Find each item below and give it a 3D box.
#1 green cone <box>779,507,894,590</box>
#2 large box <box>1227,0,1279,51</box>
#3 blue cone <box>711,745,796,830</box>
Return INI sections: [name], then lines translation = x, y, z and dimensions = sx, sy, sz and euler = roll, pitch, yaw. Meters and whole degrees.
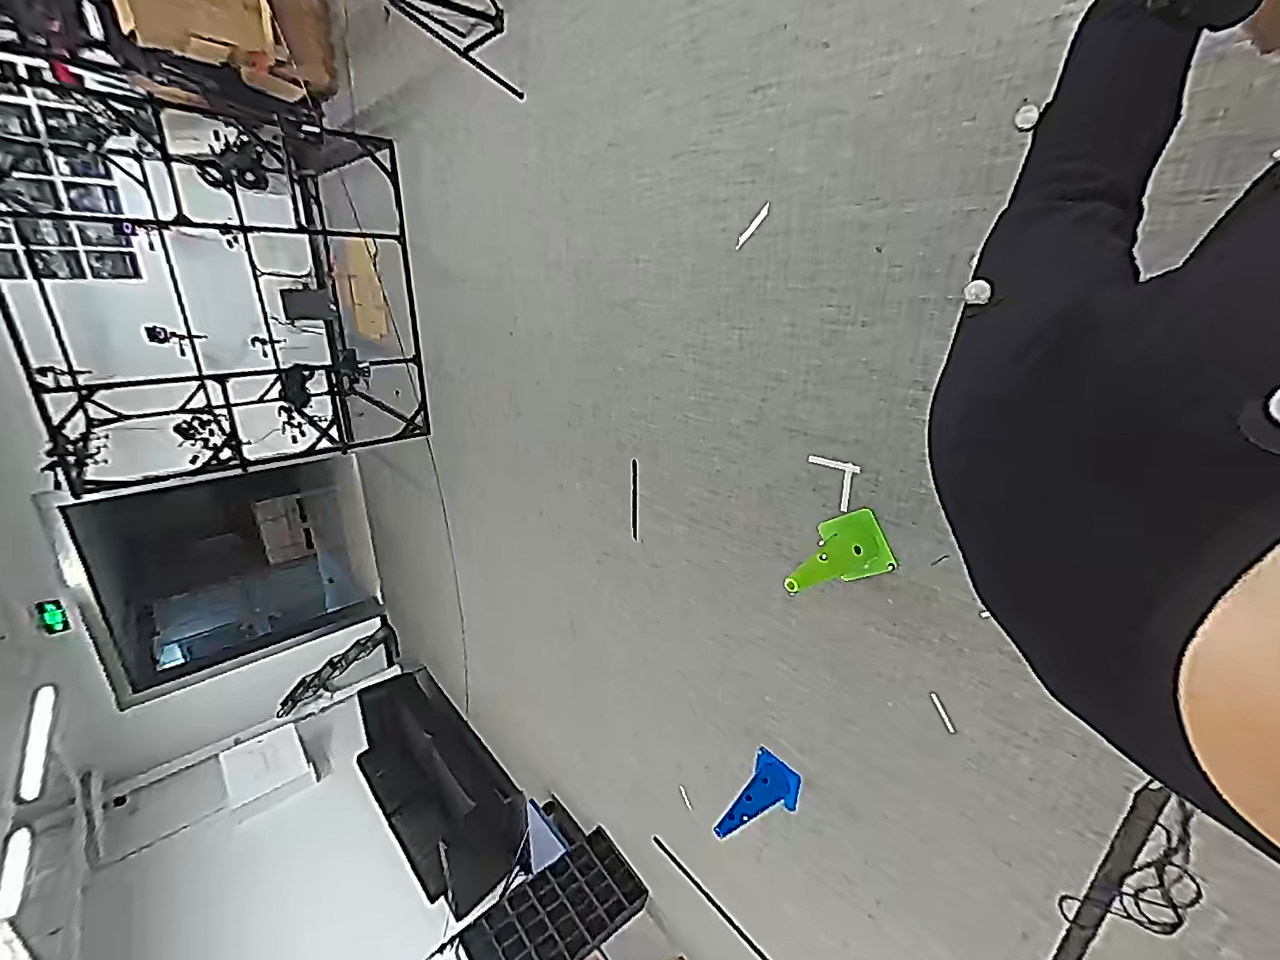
[green cone]
translation = 0.533, 0.234, 1.568
dimensions = 0.202, 0.368, 0.200
euler = -33, 76, 52
[large box]
translation = 0.598, -0.463, 0.242
dimensions = 0.408, 0.320, 0.320
euler = 21, 124, 46
[blue cone]
translation = 0.422, 1.232, 2.090
dimensions = 0.192, 0.380, 0.193
euler = 28, 123, 43
